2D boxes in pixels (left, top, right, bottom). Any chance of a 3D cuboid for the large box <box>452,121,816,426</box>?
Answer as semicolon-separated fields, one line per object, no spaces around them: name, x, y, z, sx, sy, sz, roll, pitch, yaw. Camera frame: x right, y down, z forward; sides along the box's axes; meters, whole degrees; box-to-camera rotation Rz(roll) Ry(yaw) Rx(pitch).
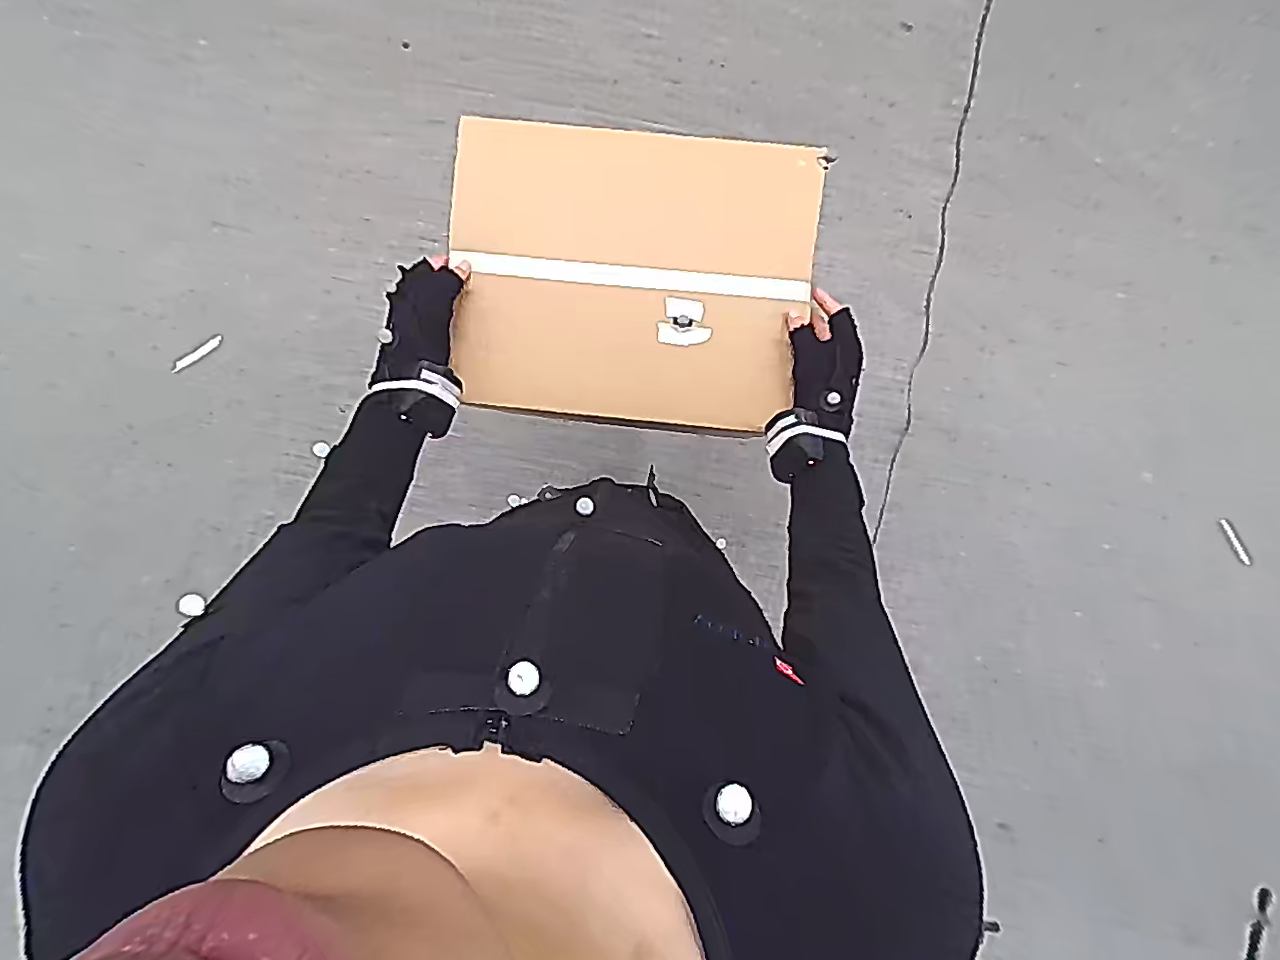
large box;-0.011;-0.248;0.764;0.408;0.320;0.320;5;95;1
